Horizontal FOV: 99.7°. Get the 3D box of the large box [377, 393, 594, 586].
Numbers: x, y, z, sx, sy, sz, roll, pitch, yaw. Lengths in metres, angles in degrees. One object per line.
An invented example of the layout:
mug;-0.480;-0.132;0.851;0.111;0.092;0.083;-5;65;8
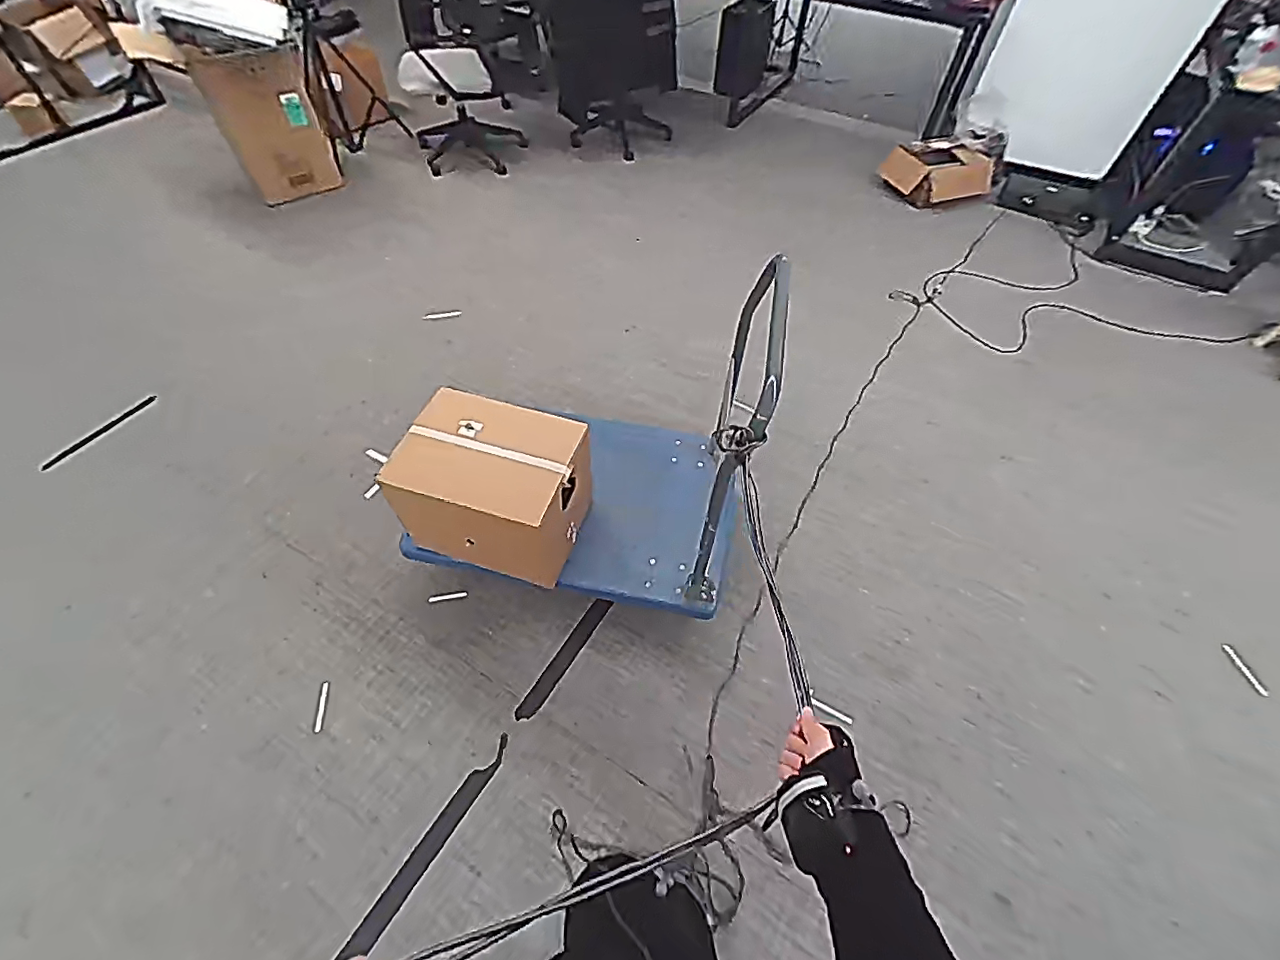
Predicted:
large box;-0.358;0.029;1.378;0.408;0.320;0.320;14;54;9
